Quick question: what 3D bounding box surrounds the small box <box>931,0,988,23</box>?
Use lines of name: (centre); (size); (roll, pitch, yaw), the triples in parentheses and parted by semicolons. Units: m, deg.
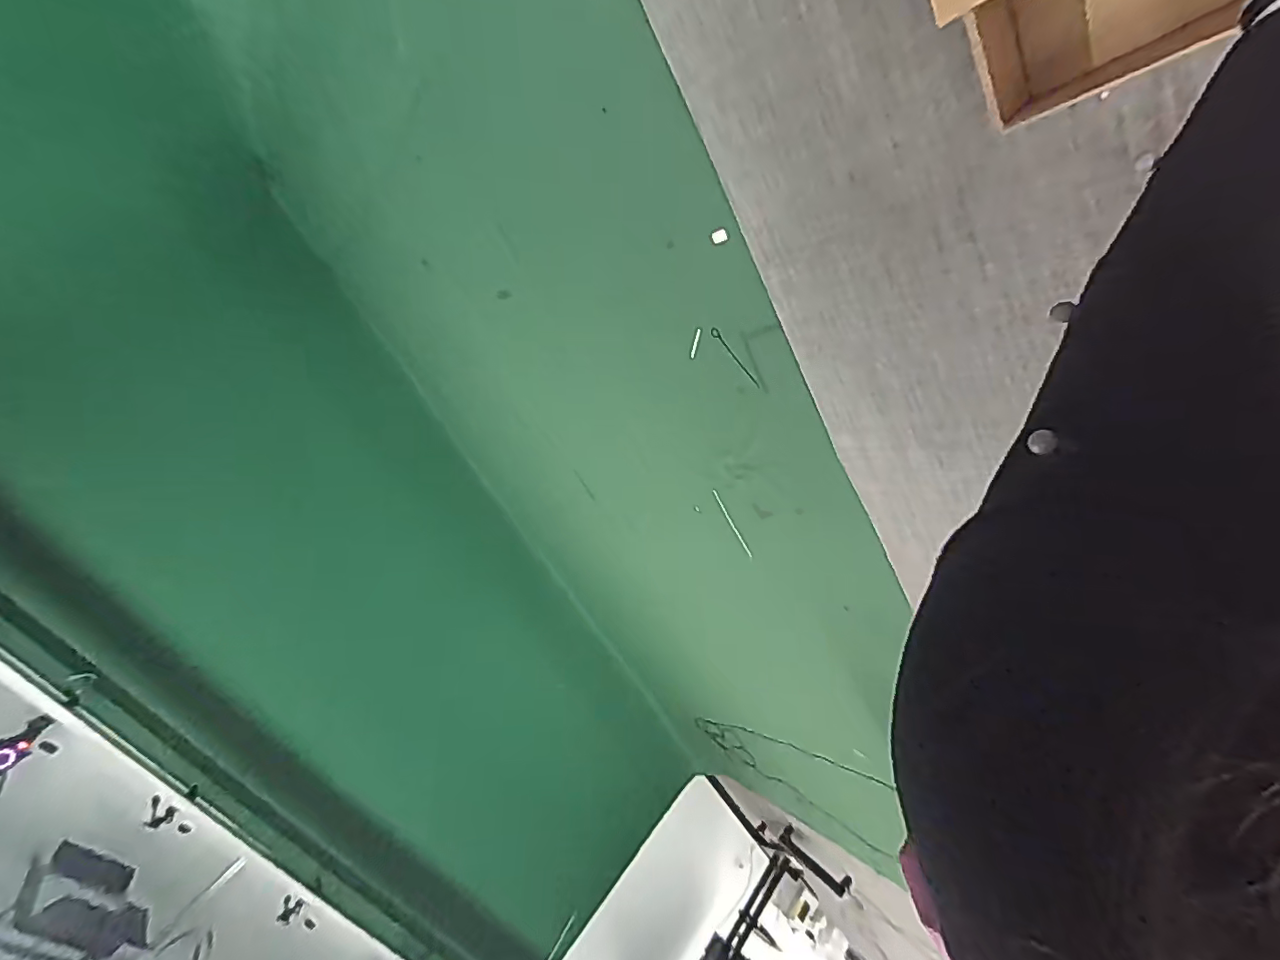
small box: (0.331, -0.522, 0.427); (0.168, 0.176, 0.179); (4, 131, 53)
